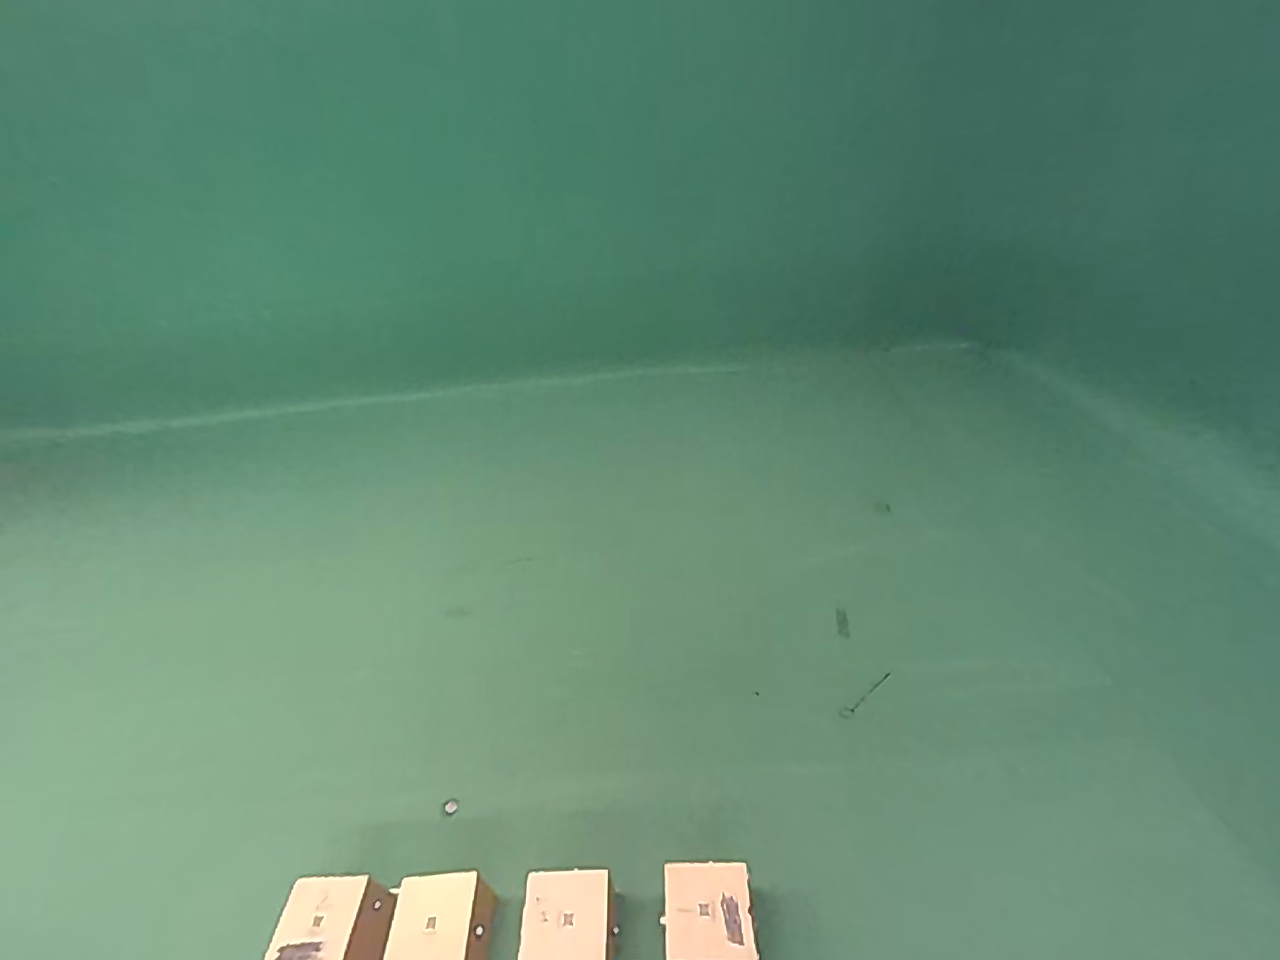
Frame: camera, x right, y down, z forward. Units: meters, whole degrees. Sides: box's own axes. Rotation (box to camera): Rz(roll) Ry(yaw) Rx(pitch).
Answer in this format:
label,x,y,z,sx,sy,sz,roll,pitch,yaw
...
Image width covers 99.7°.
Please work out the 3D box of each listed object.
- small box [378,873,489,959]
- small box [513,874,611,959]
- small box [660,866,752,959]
label,x,y,z,sx,sy,sz,roll,pitch,yaw
small box,-0.430,0.969,1.148,0.168,0.176,0.179,-5,40,1
small box,-0.156,0.950,1.136,0.179,0.176,0.168,-3,39,3
small box,0.132,0.929,1.128,0.179,0.176,0.168,-3,39,4
